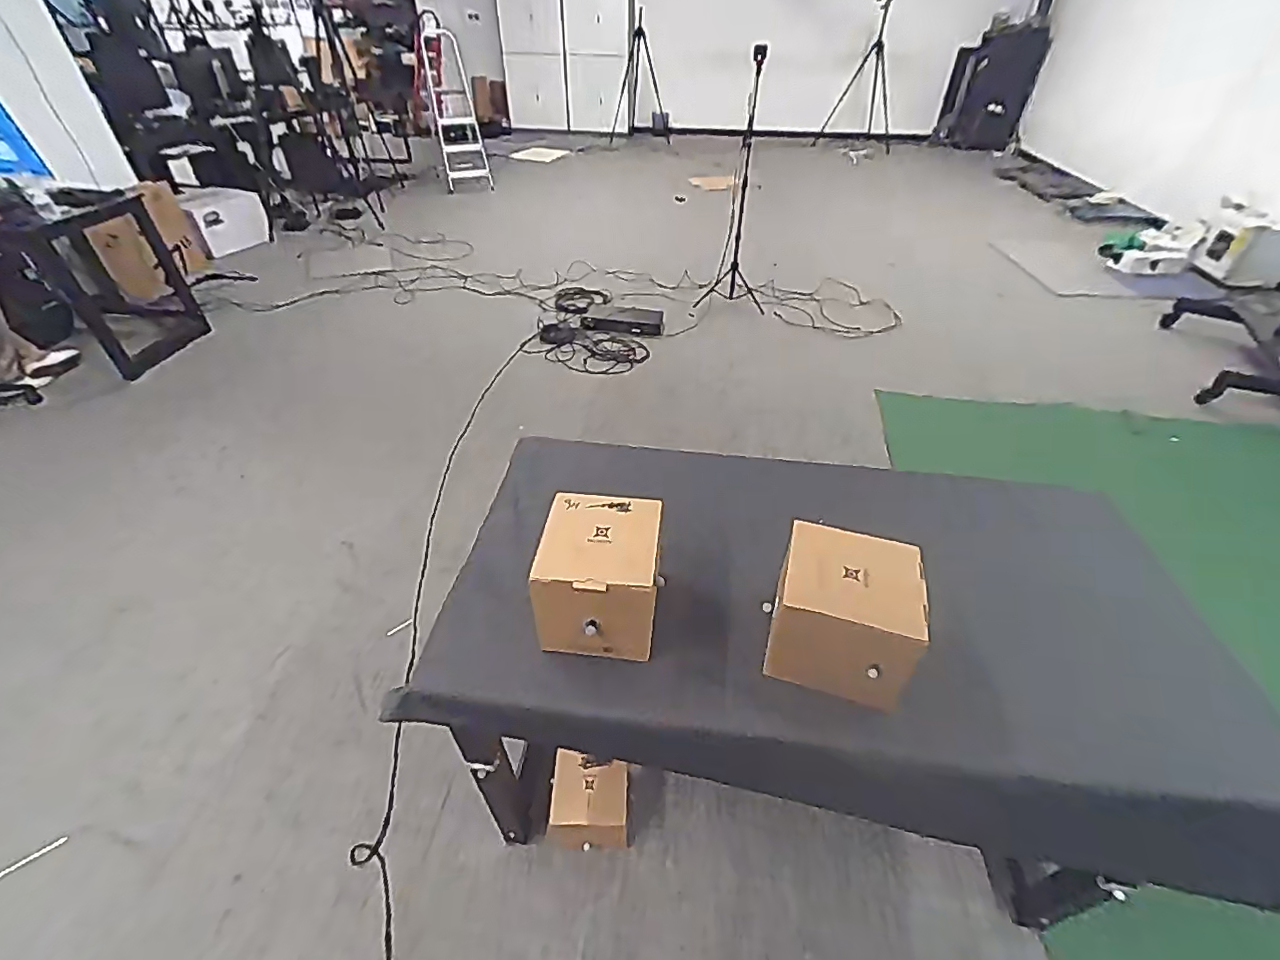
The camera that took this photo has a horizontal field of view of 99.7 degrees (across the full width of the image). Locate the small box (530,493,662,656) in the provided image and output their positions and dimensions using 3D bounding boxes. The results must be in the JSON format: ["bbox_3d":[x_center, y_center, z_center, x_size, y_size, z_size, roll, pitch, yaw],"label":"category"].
[{"bbox_3d":[-0.057,0.144,0.820,0.168,0.176,0.179,5,40,4],"label":"small box"}]

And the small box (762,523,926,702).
[{"bbox_3d":[0.285,0.191,0.778,0.179,0.176,0.168,11,40,13],"label":"small box"}]
